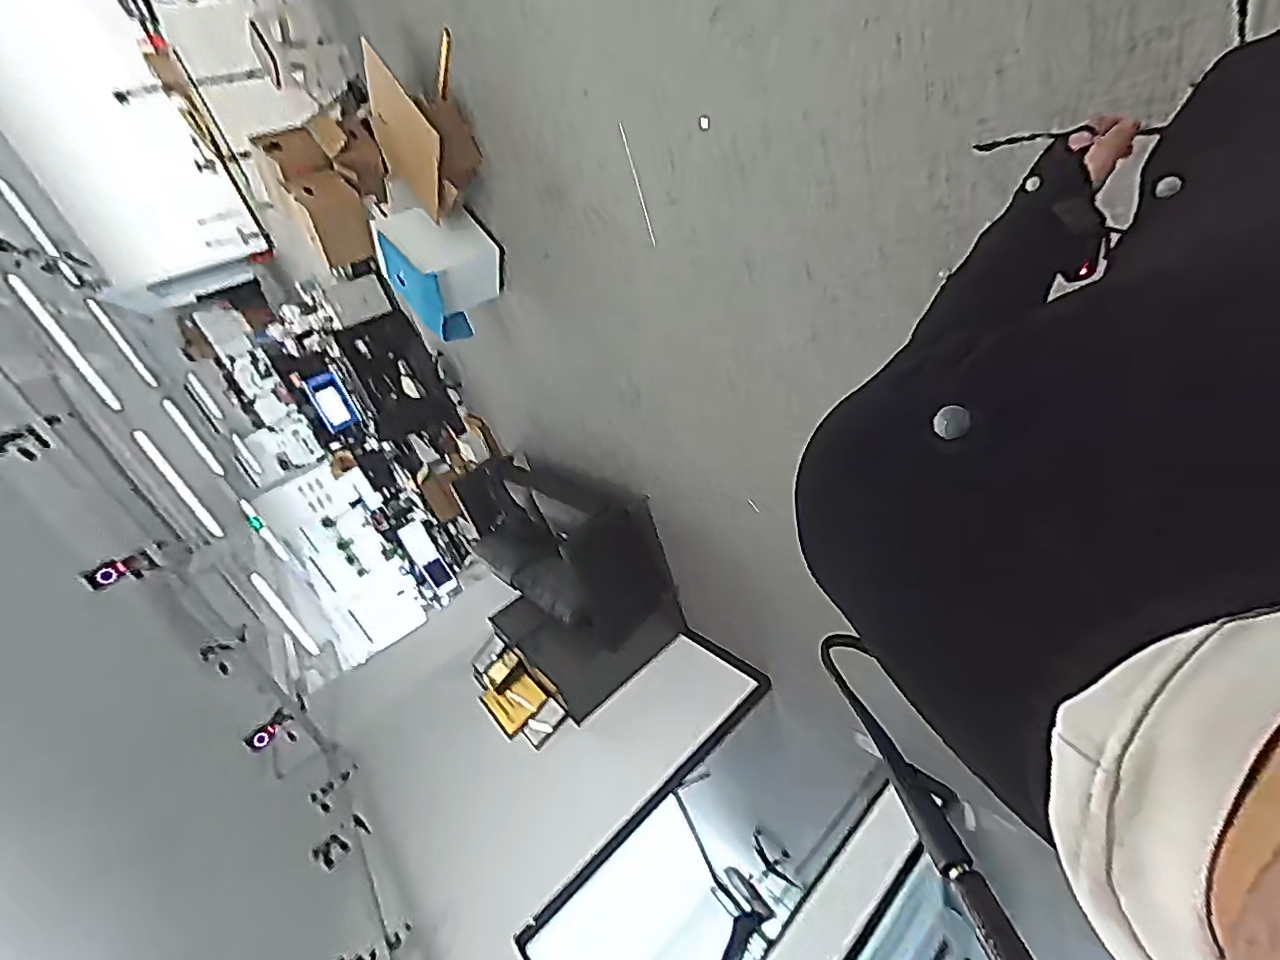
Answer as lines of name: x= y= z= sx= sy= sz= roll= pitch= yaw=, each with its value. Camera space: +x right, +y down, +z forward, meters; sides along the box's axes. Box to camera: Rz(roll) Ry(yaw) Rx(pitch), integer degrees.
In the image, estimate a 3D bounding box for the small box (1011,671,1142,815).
small box: x=0.925 y=0.552 z=1.150 sx=0.168 sy=0.176 sz=0.179 roll=23 pitch=138 yaw=47
